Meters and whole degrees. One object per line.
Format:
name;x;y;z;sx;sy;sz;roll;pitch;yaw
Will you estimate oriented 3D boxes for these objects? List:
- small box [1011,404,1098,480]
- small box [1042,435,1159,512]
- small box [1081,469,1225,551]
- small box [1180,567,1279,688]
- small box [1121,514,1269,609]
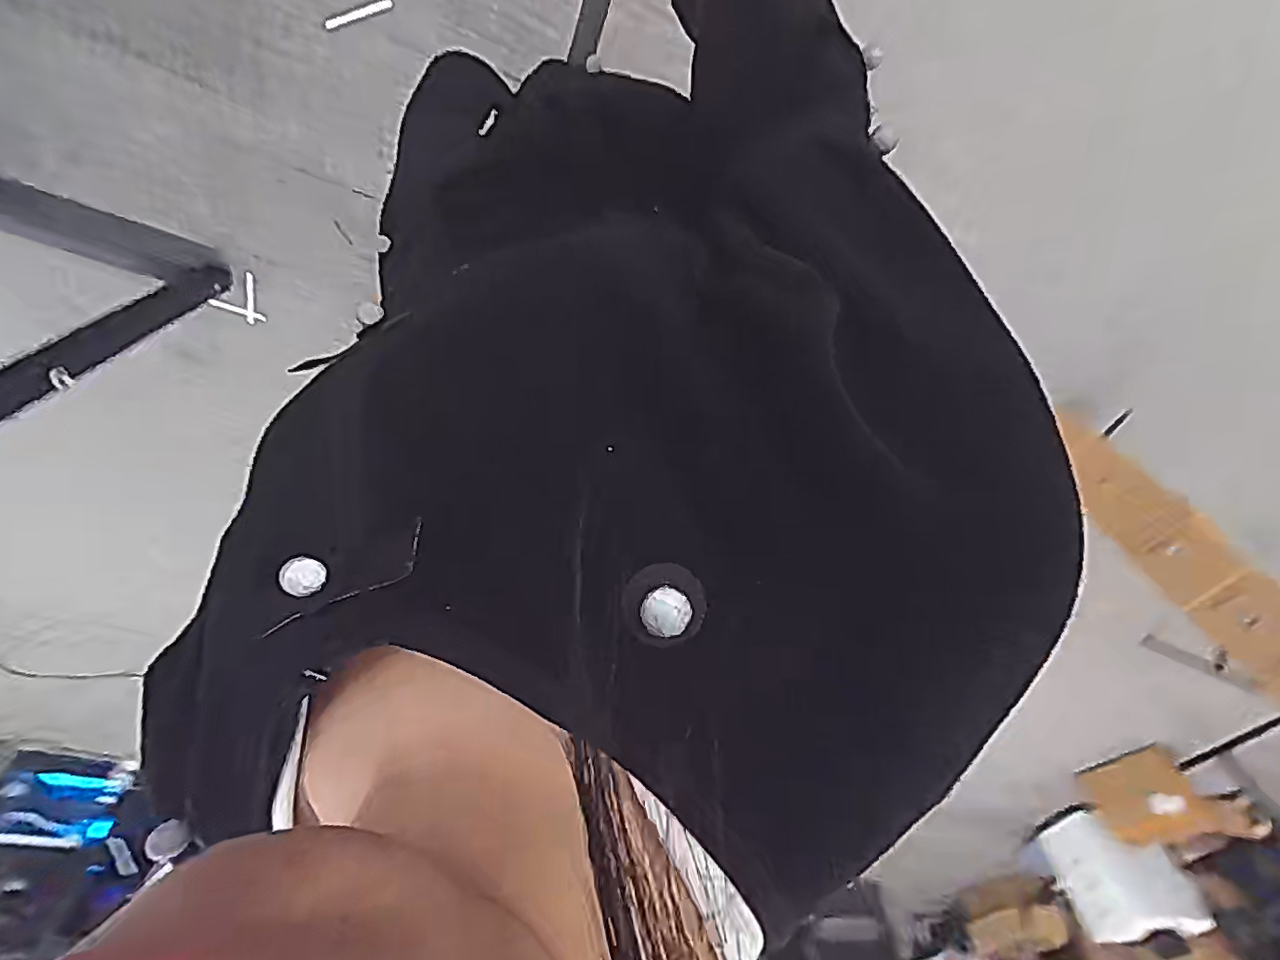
small box;1.282;-0.099;1.653;0.168;0.176;0.179;23;122;-19
small box;1.297;0.002;1.524;0.168;0.176;0.179;26;121;-20
small box;1.312;0.101;1.397;0.168;0.176;0.179;24;123;-18
small box;1.325;0.309;1.143;0.179;0.176;0.168;22;122;-17
small box;1.310;0.208;1.271;0.179;0.176;0.168;24;121;-18
